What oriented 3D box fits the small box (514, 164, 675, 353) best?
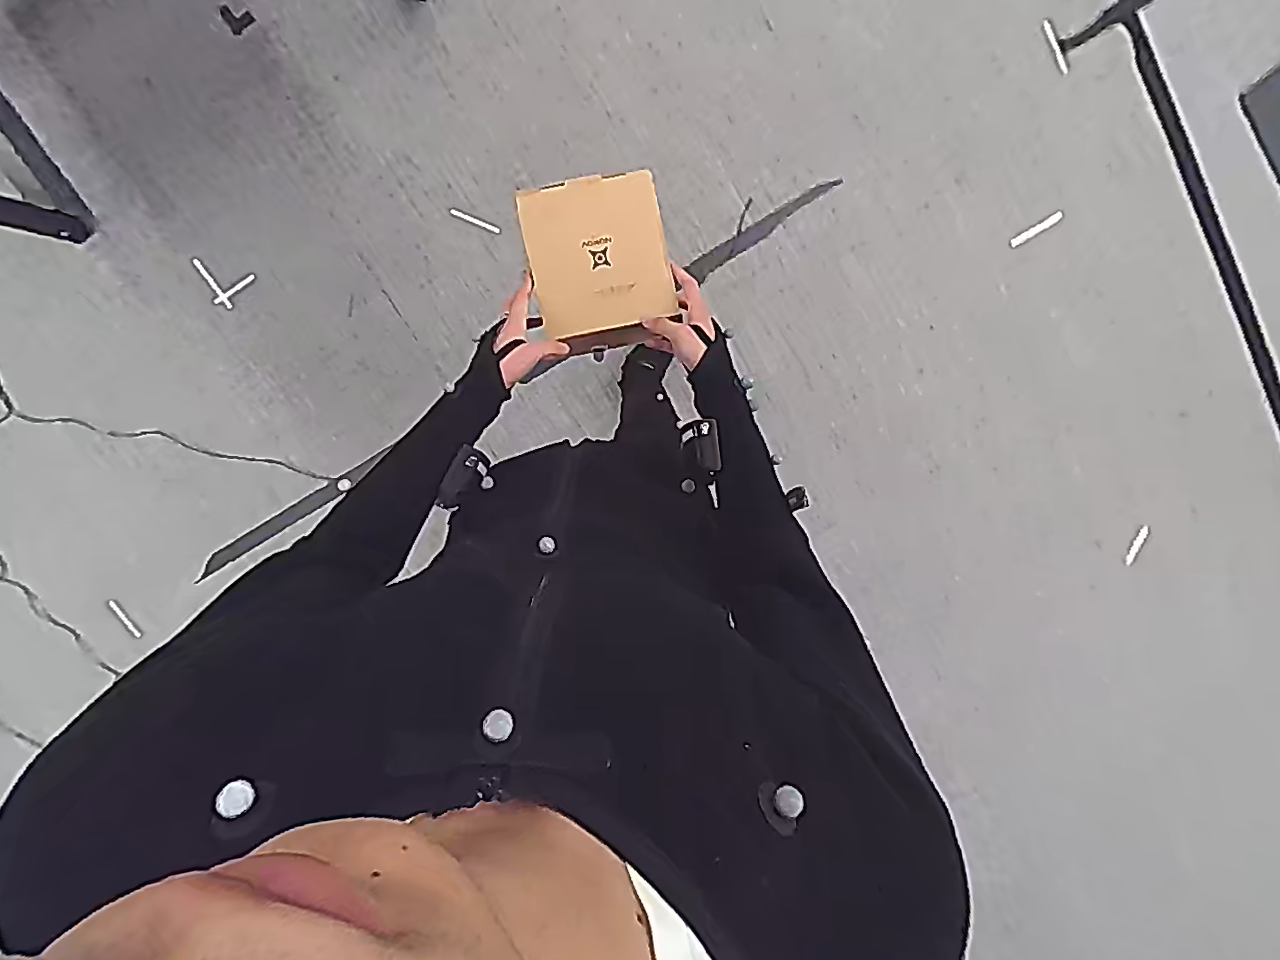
[{"bbox_3d":[-0.062,-0.279,0.717,0.168,0.176,0.179,-13,97,-5],"label":"small box"}]
